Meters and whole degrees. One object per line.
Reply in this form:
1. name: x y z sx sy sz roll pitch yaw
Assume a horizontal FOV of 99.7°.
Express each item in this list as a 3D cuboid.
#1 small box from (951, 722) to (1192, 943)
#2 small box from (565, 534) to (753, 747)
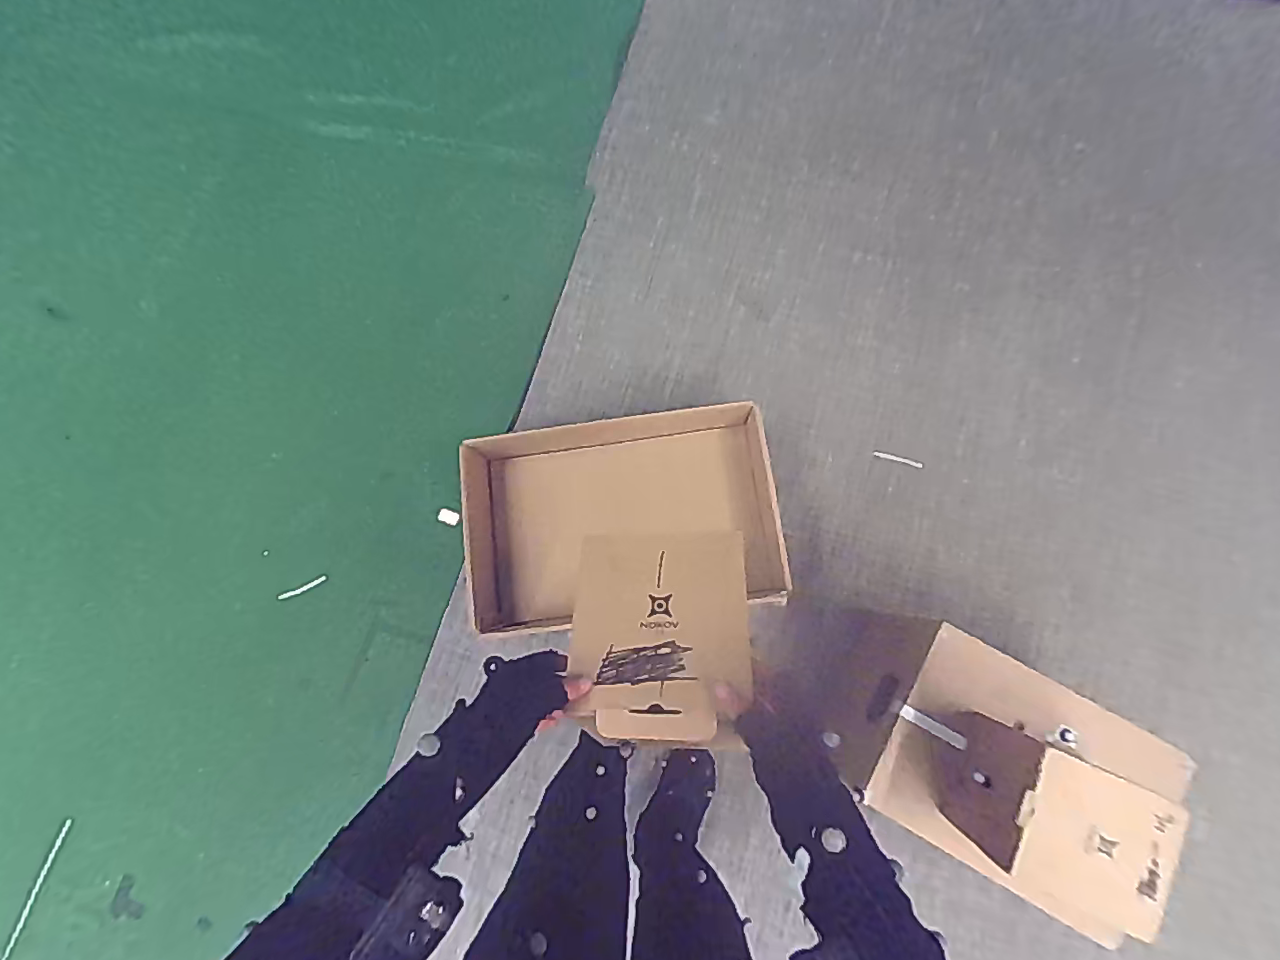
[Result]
1. small box: 0.563 0.452 0.733 0.179 0.176 0.168 23 82 8
2. small box: 0.032 0.174 0.572 0.168 0.176 0.179 -3 54 9
